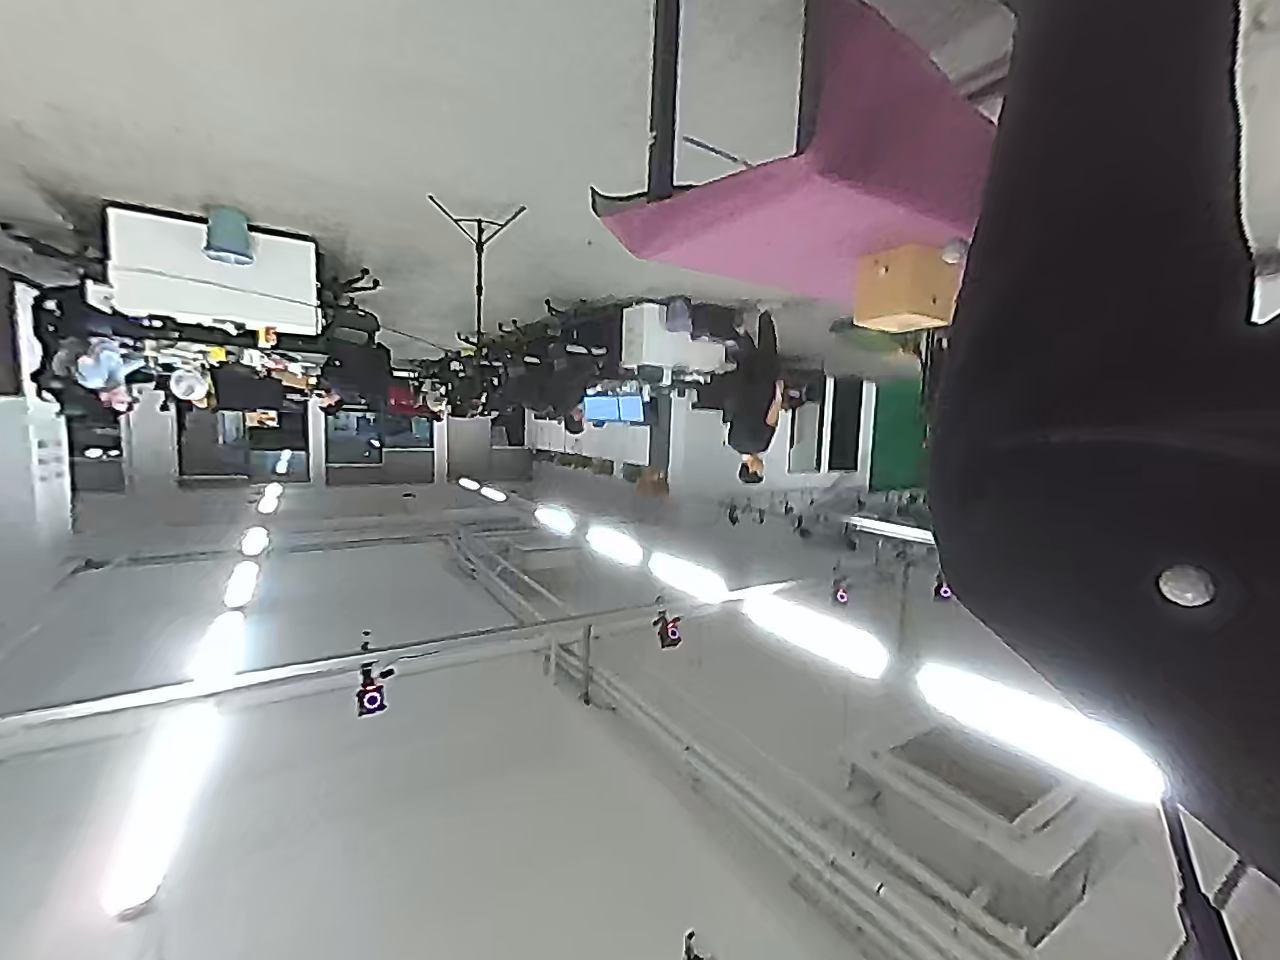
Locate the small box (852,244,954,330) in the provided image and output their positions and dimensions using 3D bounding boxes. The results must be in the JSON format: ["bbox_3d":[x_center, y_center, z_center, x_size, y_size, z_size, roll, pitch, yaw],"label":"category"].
[{"bbox_3d":[0.675,-0.489,1.383,0.179,0.176,0.168,0,-174,-28],"label":"small box"}]
